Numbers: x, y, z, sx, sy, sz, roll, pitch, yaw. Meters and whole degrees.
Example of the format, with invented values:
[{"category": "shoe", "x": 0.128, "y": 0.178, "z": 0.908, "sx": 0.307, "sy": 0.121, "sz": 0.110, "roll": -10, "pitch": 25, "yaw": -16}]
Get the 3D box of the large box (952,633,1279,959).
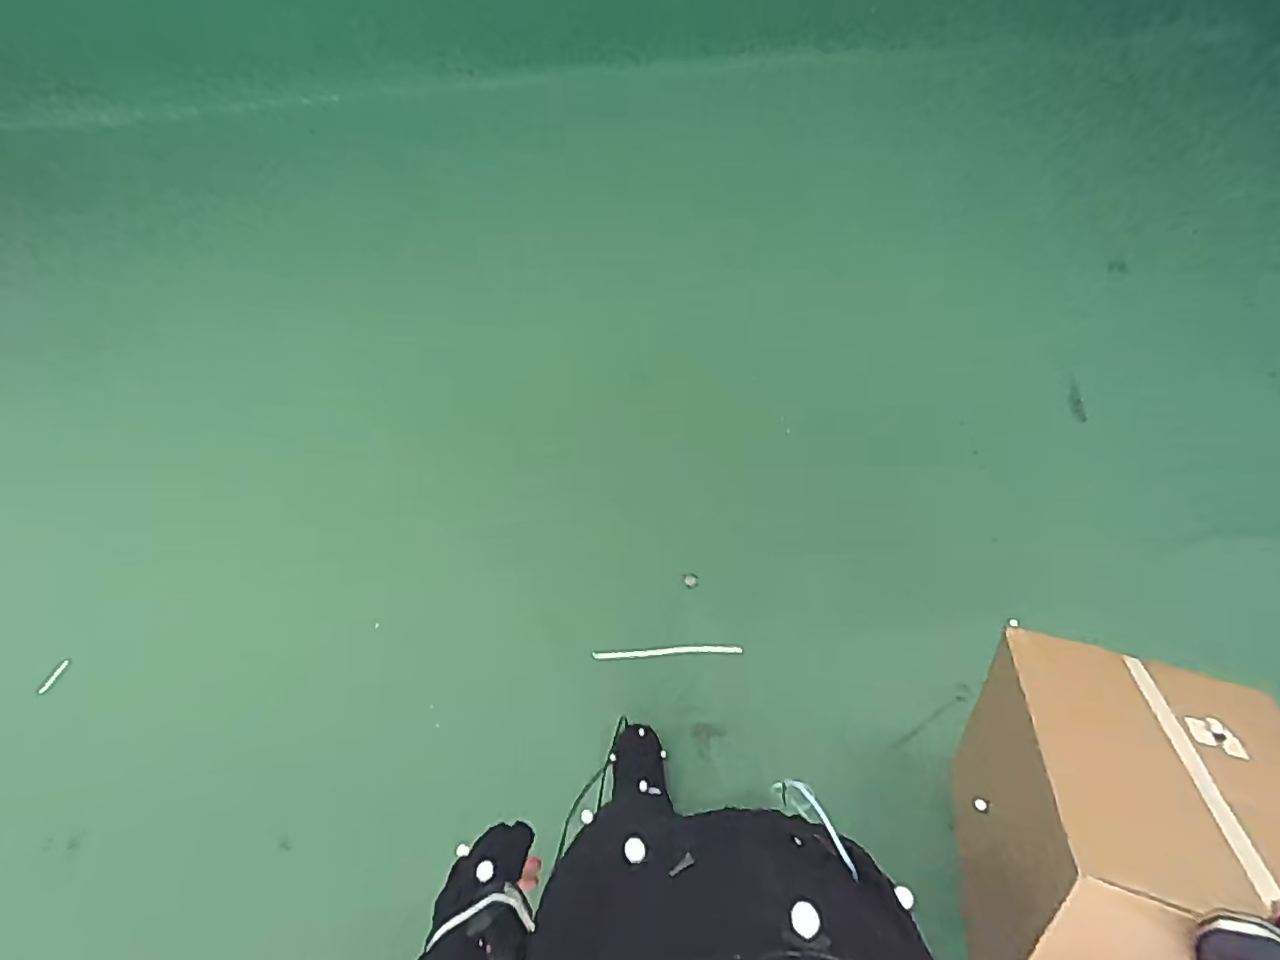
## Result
[{"category": "large box", "x": 0.622, "y": 0.472, "z": 0.685, "sx": 0.320, "sy": 0.320, "sz": 0.408, "roll": 13, "pitch": 24, "yaw": 20}]
